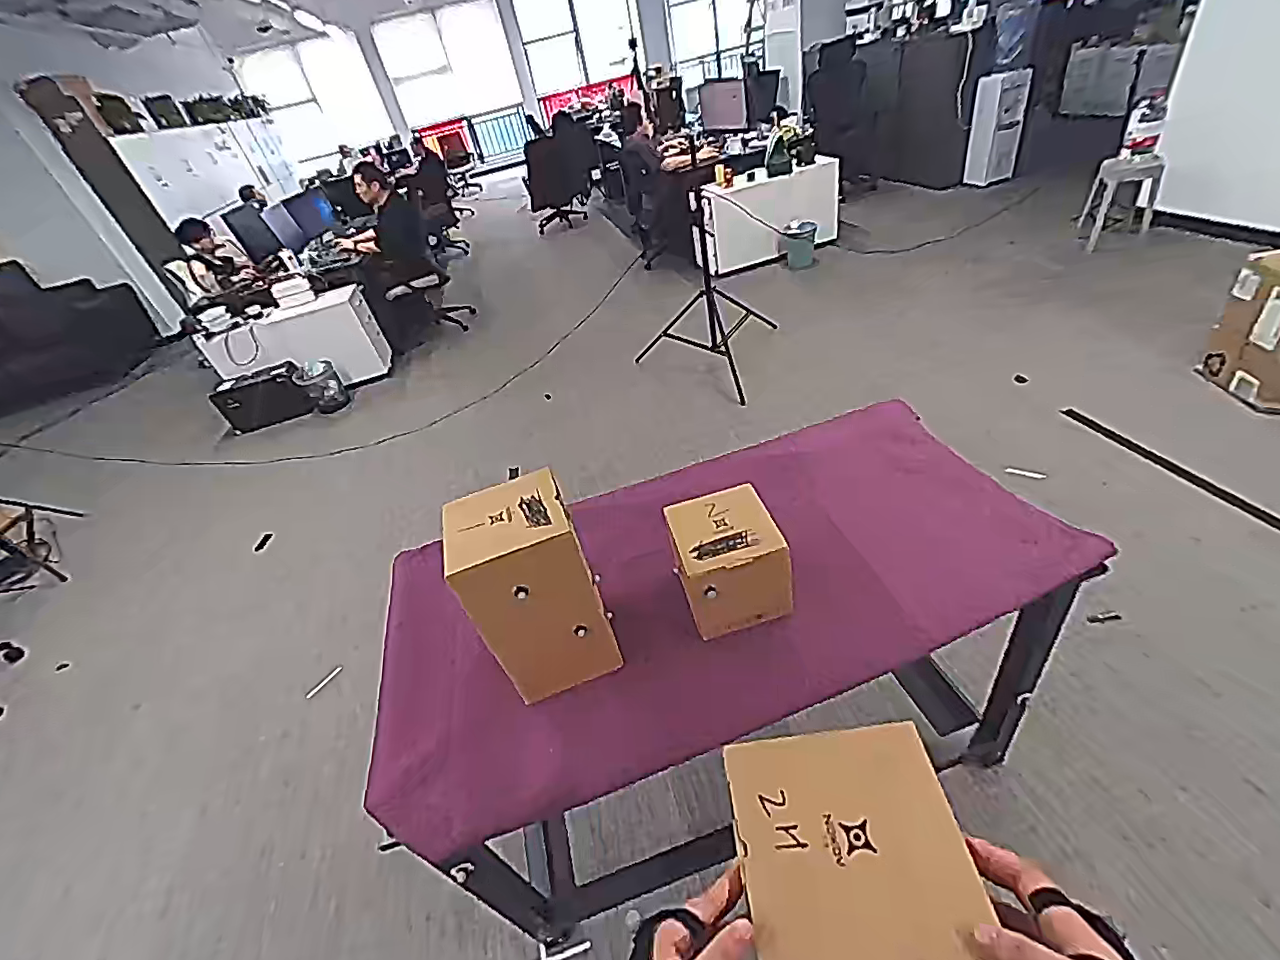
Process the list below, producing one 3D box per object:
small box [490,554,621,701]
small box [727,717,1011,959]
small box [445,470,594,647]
[{"bbox_3d":[-0.149,0.243,0.925,0.179,0.176,0.168,-20,38,-8],"label":"small box"},{"bbox_3d":[0.182,0.339,0.488,0.179,0.176,0.168,-10,41,5],"label":"small box"},{"bbox_3d":[-0.178,0.119,0.822,0.179,0.176,0.168,-20,38,-7],"label":"small box"}]
